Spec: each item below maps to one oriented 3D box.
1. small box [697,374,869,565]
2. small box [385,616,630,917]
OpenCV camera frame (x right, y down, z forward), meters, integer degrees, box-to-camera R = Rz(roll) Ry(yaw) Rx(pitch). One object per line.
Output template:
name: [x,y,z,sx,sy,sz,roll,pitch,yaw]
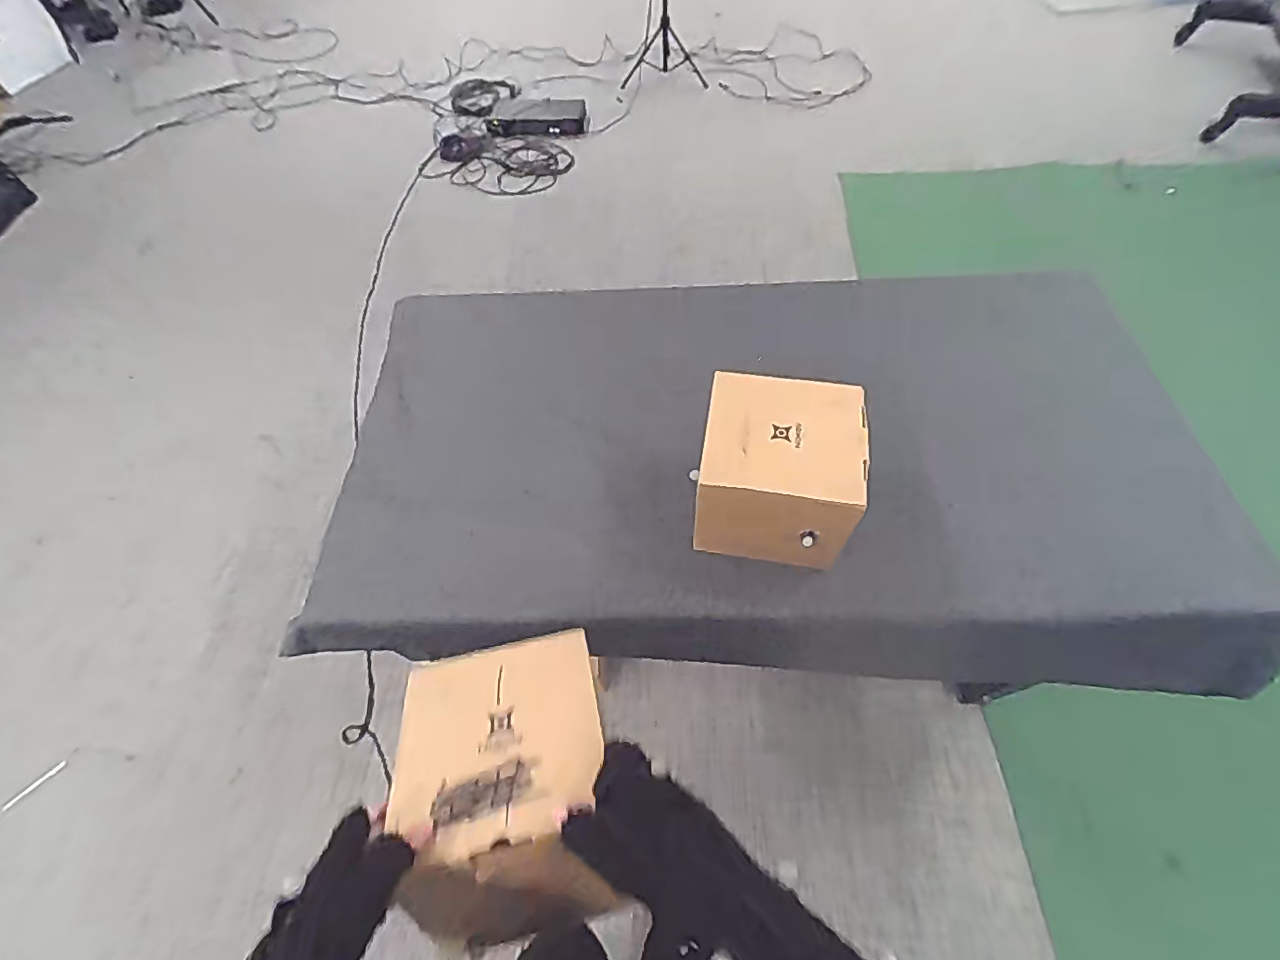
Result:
small box: [0.170,-0.007,0.674,0.179,0.176,0.168,7,59,9]
small box: [-0.108,0.260,0.495,0.168,0.176,0.179,-10,34,-7]
